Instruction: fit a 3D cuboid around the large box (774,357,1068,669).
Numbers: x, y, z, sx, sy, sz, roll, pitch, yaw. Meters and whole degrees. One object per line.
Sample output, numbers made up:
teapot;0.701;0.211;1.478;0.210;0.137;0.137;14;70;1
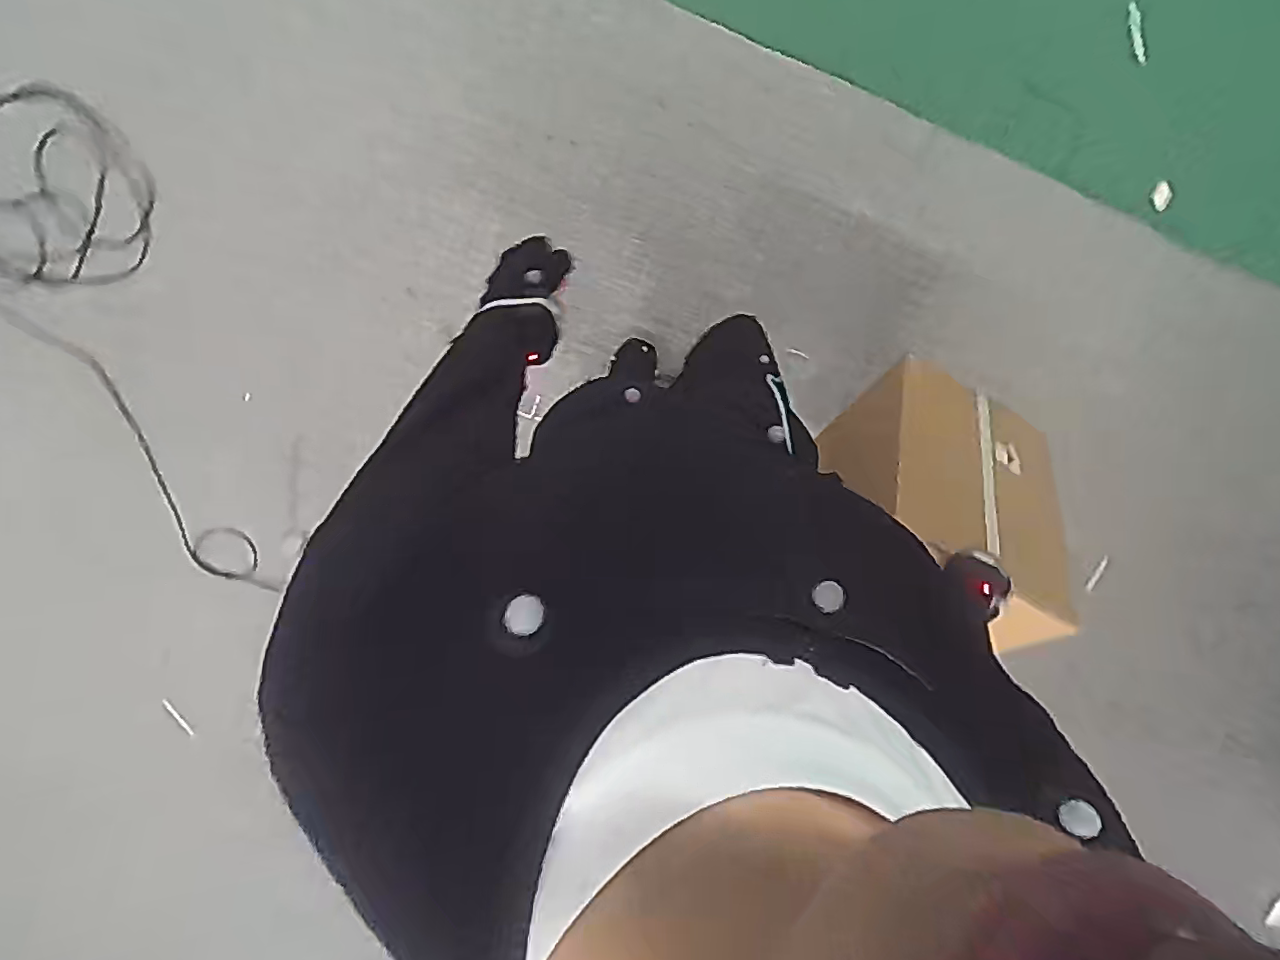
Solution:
large box;0.481;0.066;0.983;0.320;0.408;0.320;29;142;-6
